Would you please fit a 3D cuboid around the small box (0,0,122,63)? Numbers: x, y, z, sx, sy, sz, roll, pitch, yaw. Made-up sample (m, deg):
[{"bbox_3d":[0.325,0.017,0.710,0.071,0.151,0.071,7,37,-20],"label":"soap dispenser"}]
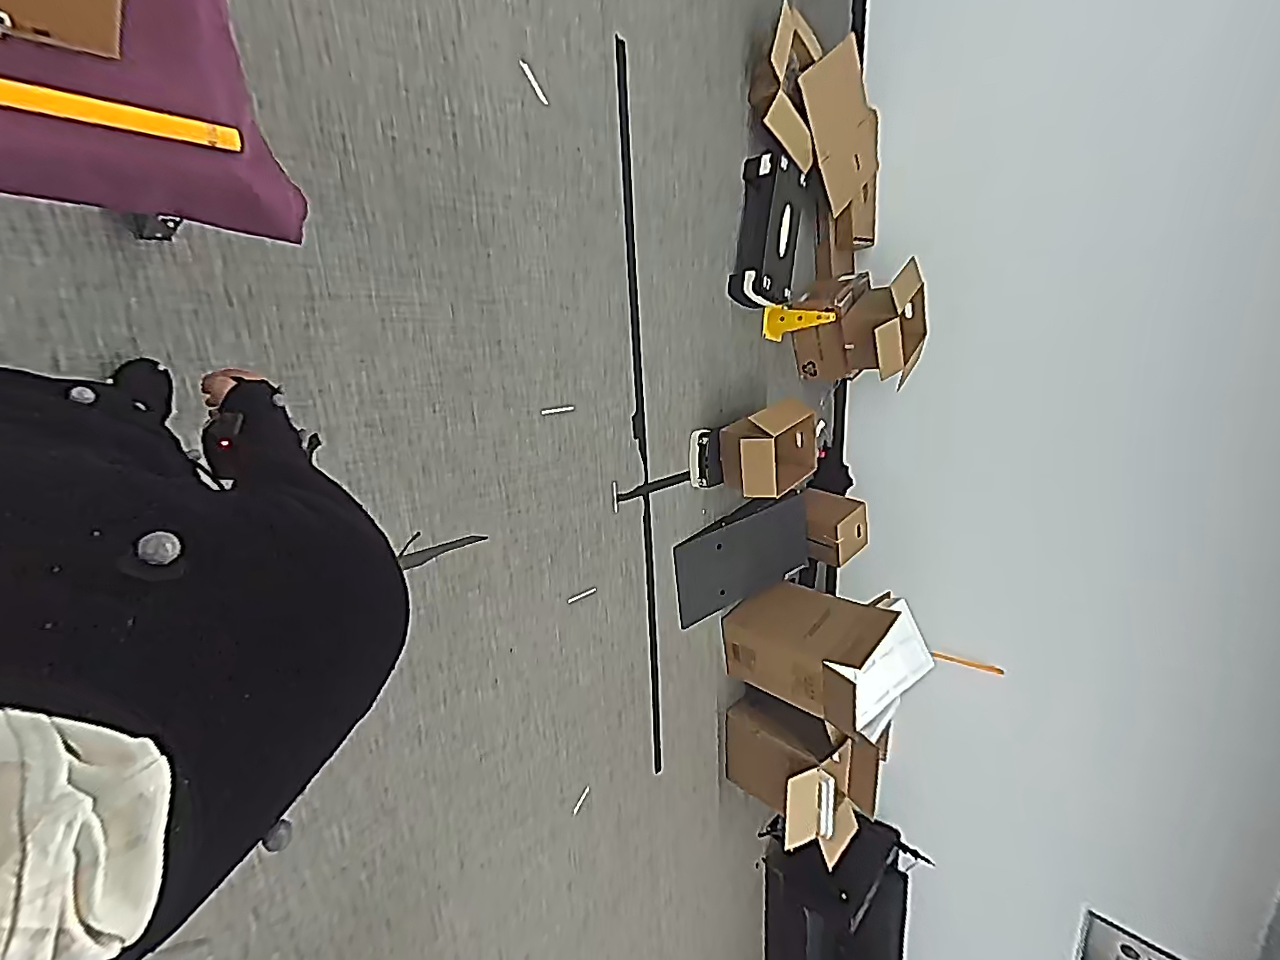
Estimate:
[{"bbox_3d":[-0.611,-0.535,0.494,0.168,0.176,0.179,-17,109,-41],"label":"small box"}]
